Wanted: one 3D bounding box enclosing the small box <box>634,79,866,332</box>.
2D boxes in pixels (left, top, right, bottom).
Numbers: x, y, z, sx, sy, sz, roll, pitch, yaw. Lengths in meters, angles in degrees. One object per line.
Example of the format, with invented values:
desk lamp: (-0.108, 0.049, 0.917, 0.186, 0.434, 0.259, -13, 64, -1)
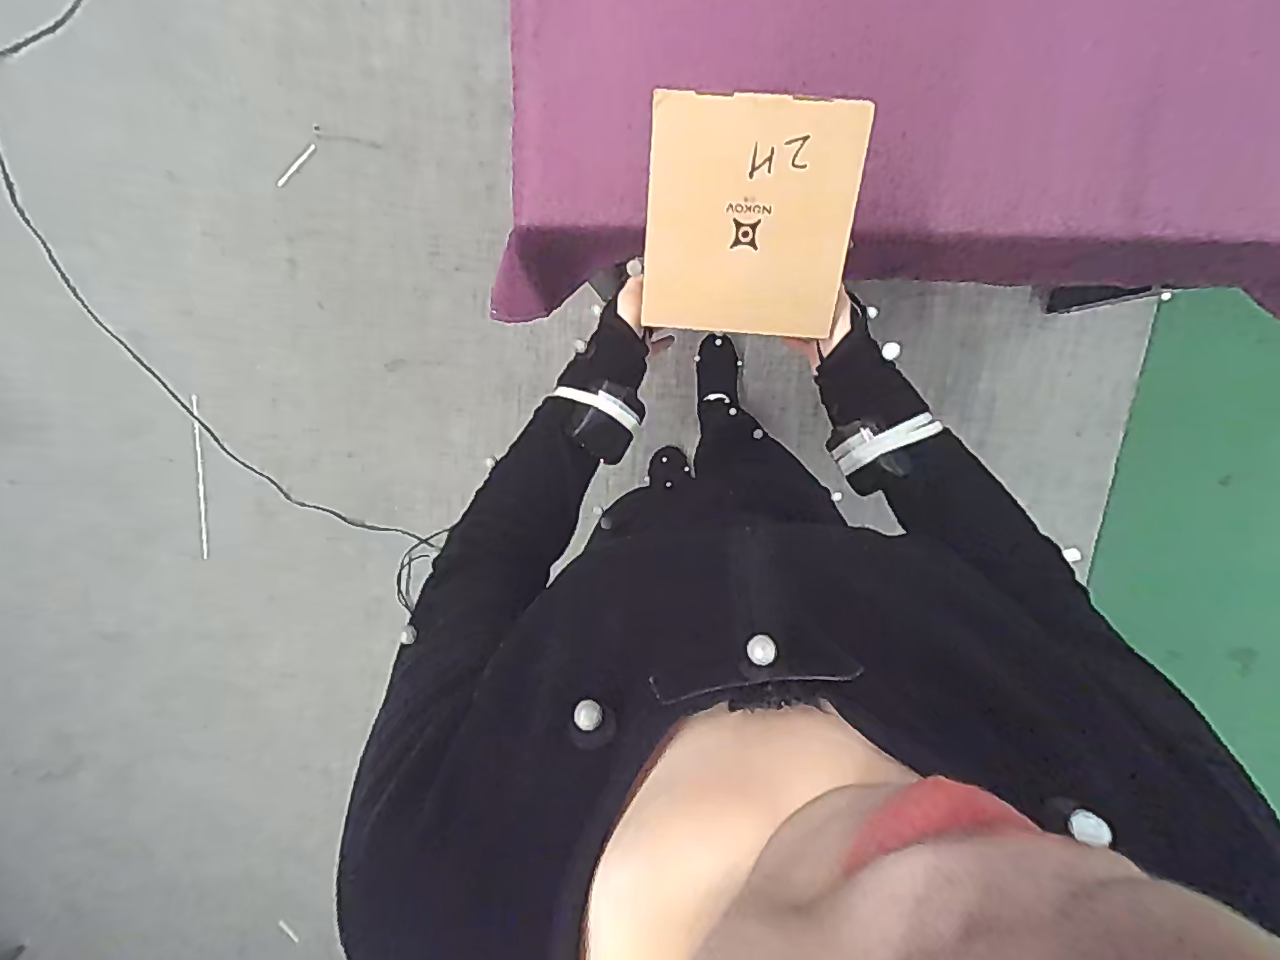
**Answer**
small box: (0.088, -0.246, 0.509, 0.168, 0.176, 0.179, 5, 113, 2)
